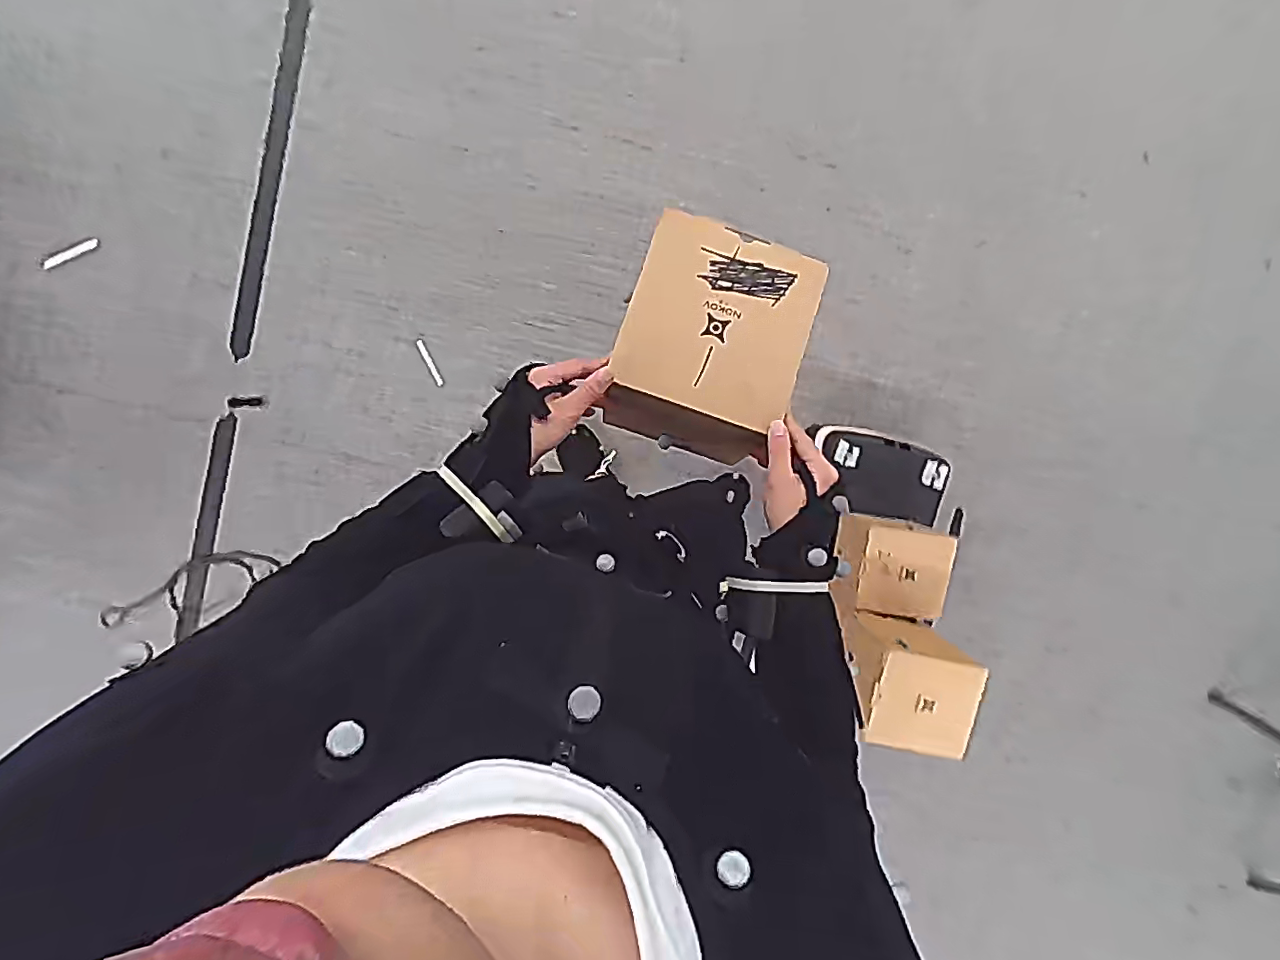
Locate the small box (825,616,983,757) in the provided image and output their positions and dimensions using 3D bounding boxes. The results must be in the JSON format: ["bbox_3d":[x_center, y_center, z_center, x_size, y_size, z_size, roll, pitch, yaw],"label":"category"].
[{"bbox_3d":[0.463,0.361,0.975,0.179,0.176,0.168,12,96,-2],"label":"small box"}]

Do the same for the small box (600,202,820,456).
[{"bbox_3d":[0.059,-0.140,0.566,0.168,0.176,0.179,18,82,-2],"label":"small box"}]

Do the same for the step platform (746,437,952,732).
[{"bbox_3d":[0.488,0.246,1.300,0.286,0.204,0.684,14,95,-3],"label":"step platform"}]
